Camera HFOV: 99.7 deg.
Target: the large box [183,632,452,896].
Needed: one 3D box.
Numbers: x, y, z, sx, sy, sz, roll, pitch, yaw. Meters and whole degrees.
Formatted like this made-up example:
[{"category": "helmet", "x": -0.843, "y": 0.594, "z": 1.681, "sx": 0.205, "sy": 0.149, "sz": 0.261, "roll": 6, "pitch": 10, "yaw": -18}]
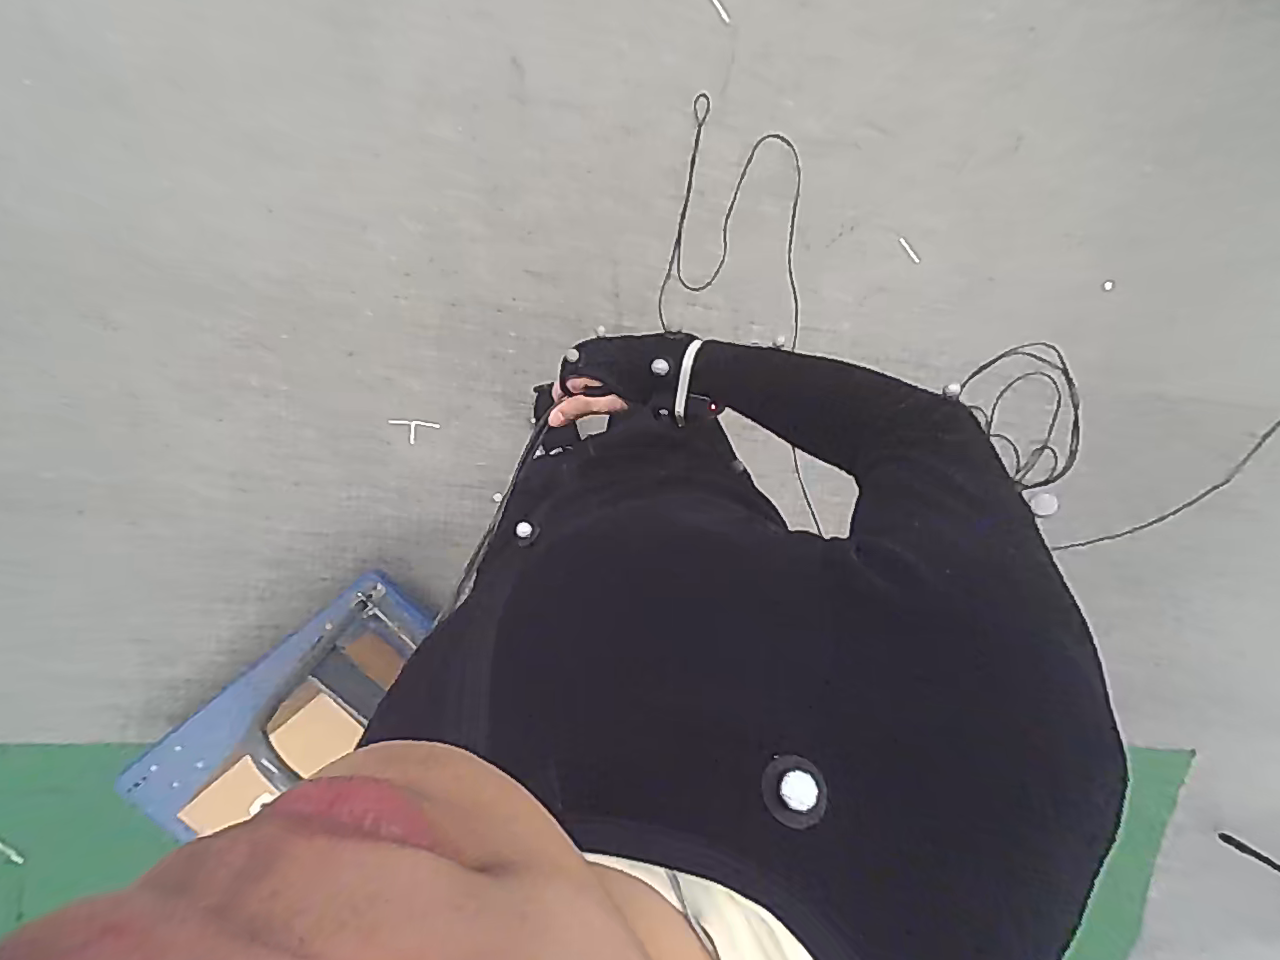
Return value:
[{"category": "large box", "x": -0.732, "y": 0.655, "z": 1.303, "sx": 0.408, "sy": 0.320, "sz": 0.320, "roll": -39, "pitch": 103, "yaw": 0}]
